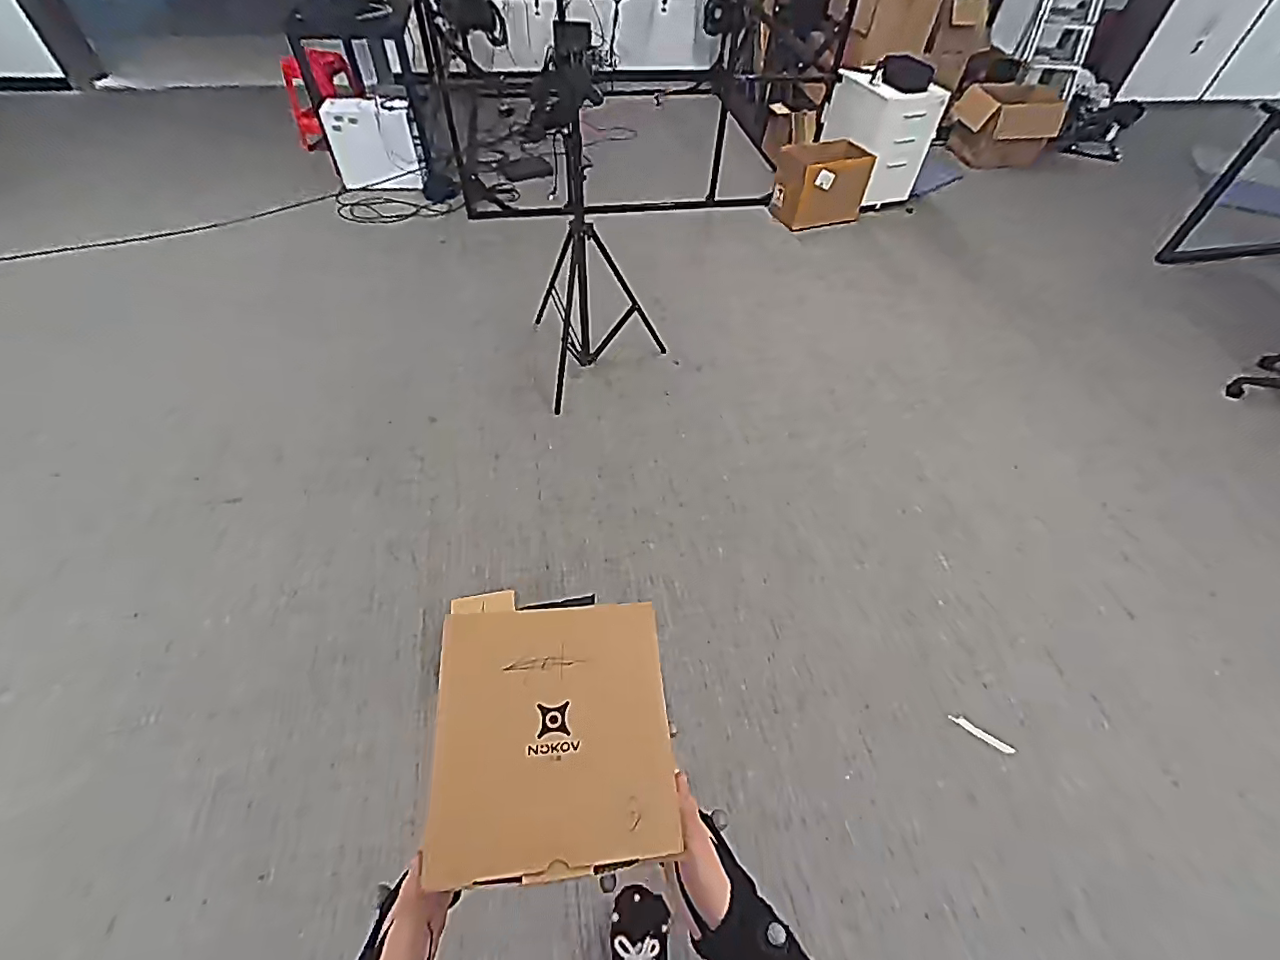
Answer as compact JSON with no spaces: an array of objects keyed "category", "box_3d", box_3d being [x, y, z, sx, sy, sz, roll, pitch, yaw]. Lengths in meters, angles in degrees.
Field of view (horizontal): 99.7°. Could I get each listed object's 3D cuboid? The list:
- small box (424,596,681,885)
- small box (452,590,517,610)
[{"category":"small box","box_3d":[-0.071,0.215,0.452,0.168,0.176,0.179,-2,55,-10]},{"category":"small box","box_3d":[-0.401,0.423,1.447,0.168,0.176,0.179,-9,52,-10]}]
